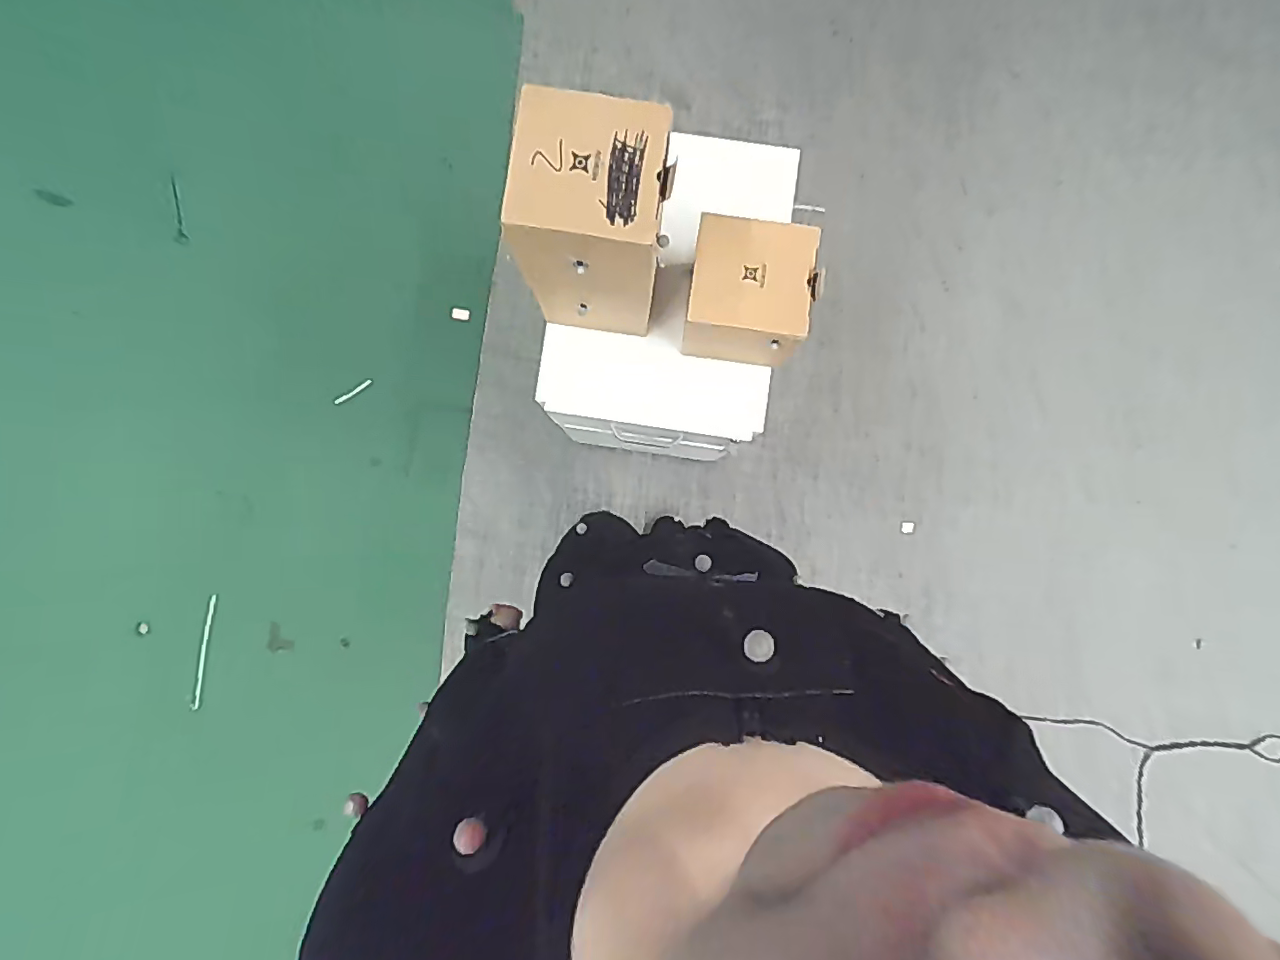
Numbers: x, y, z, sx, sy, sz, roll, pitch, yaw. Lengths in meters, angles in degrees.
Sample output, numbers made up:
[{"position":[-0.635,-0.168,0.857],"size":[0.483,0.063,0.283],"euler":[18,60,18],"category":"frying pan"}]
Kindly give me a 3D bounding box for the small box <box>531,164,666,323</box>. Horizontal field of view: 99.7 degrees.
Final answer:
[{"position":[-0.058,-0.356,0.845],"size":[0.179,0.176,0.168],"euler":[7,89,0],"category":"small box"}]
